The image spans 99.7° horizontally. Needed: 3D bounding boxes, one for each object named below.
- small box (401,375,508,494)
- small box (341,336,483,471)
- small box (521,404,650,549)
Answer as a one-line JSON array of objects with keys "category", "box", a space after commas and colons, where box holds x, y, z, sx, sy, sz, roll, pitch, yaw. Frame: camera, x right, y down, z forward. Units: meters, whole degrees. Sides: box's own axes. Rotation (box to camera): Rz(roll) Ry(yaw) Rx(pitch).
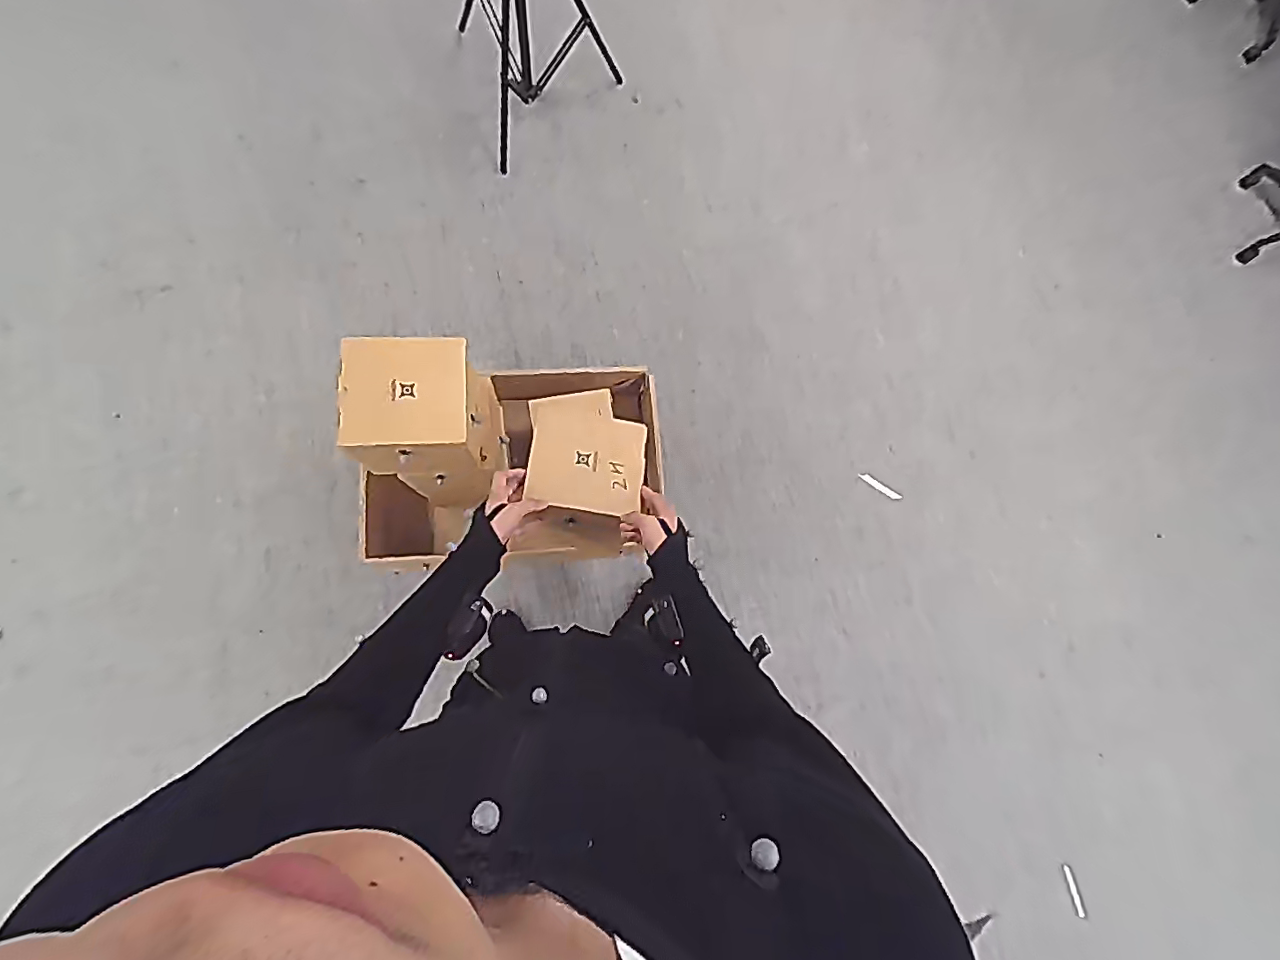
[{"category": "small box", "box": [-0.343, -0.080, 1.013, 0.168, 0.176, 0.179, -5, 78, -9]}, {"category": "small box", "box": [-0.344, -0.114, 0.851, 0.179, 0.176, 0.168, -3, 78, -9]}, {"category": "small box", "box": [-0.092, 0.004, 0.876, 0.179, 0.176, 0.168, 10, 64, -10]}]
